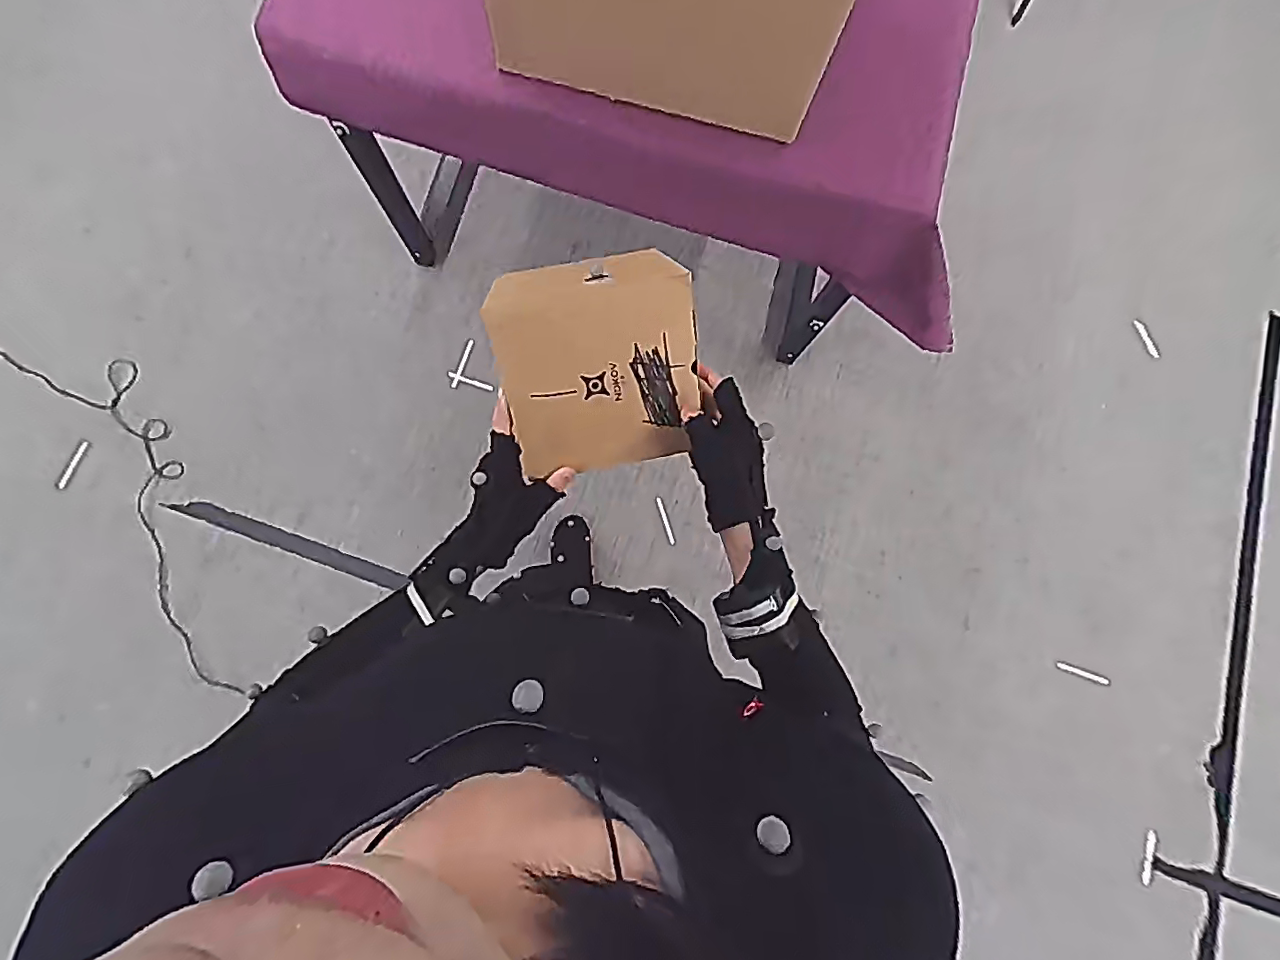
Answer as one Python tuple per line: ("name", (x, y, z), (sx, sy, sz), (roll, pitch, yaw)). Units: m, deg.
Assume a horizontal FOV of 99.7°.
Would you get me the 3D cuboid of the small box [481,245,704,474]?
("small box", (-0.044, -0.129, 0.538), (0.179, 0.176, 0.168), (-10, 120, -3))
